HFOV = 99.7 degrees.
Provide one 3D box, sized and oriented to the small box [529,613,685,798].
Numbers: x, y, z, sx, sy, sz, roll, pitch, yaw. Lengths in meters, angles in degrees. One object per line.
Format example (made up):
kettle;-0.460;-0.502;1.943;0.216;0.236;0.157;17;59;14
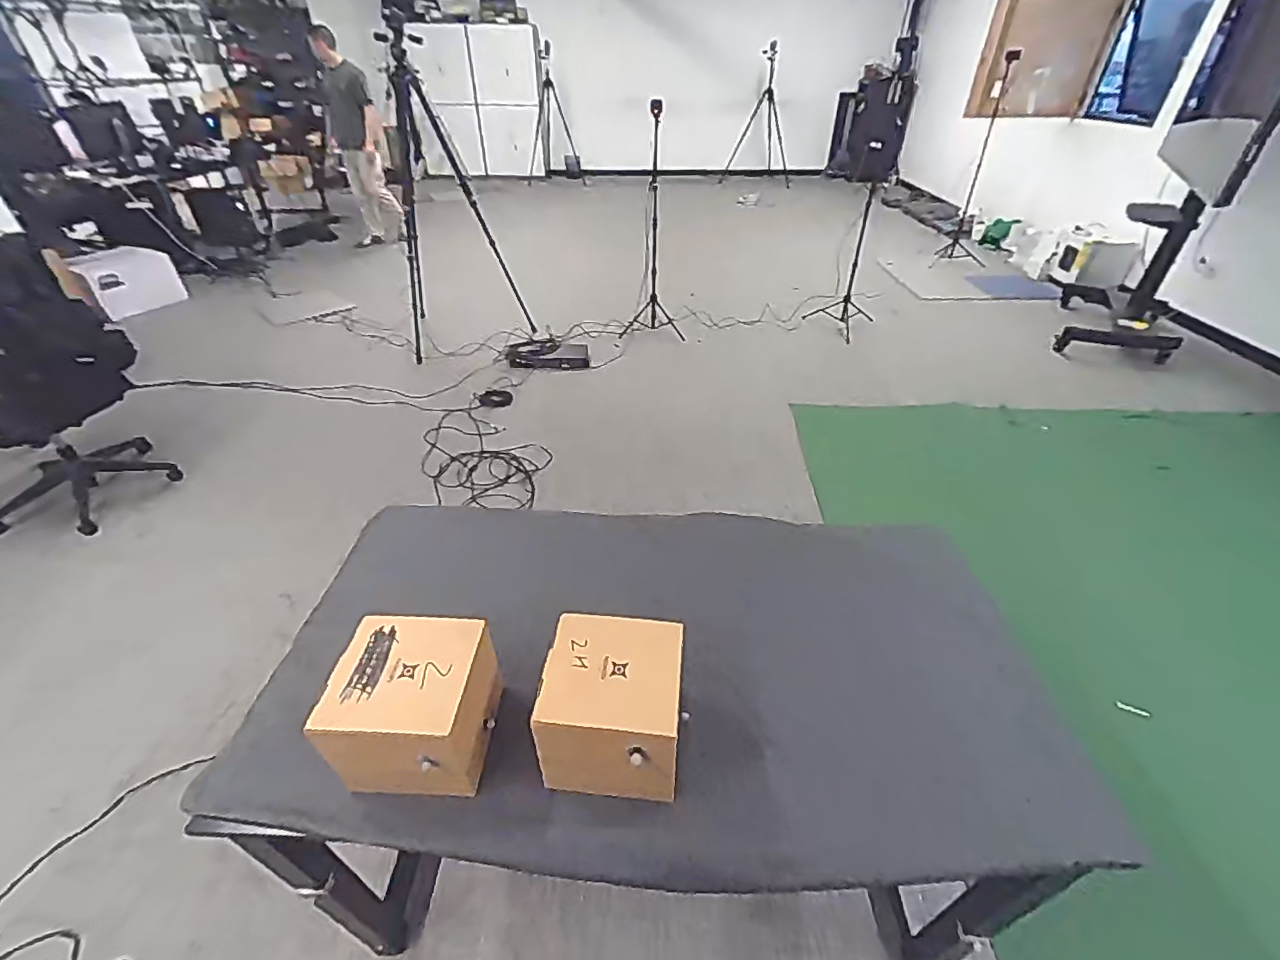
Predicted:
small box;-0.034;0.306;0.736;0.179;0.176;0.168;3;36;6
